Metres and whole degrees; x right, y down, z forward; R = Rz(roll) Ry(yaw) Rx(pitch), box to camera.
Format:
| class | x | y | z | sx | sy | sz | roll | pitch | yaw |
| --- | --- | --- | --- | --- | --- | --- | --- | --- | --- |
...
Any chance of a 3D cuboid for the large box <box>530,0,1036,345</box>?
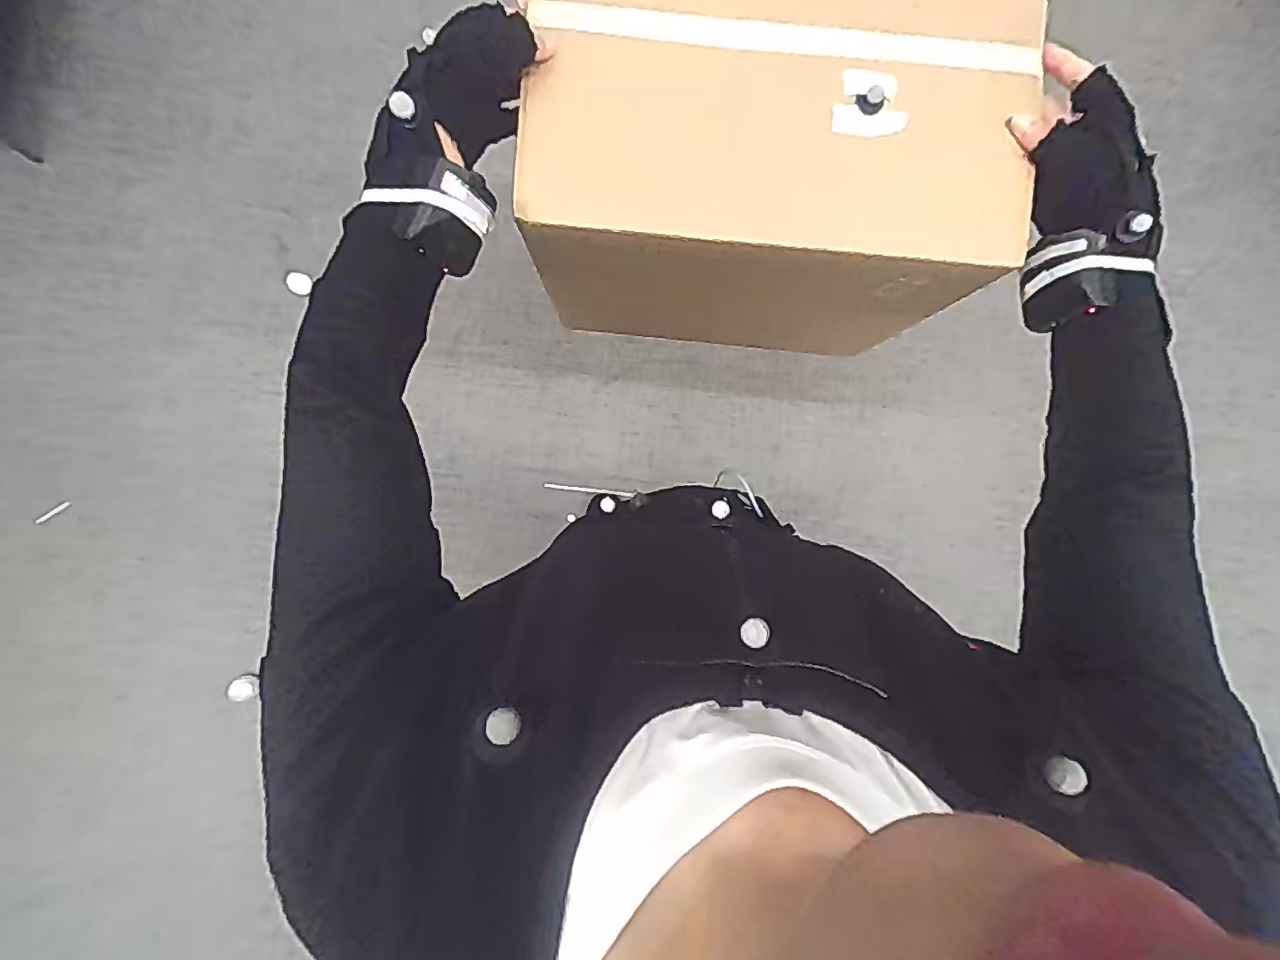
| class | x | y | z | sx | sy | sz | roll | pitch | yaw |
| --- | --- | --- | --- | --- | --- | --- | --- | --- | --- |
| large box | 0.112 | -0.346 | 0.583 | 0.408 | 0.320 | 0.320 | 5 | 90 | -2 |
